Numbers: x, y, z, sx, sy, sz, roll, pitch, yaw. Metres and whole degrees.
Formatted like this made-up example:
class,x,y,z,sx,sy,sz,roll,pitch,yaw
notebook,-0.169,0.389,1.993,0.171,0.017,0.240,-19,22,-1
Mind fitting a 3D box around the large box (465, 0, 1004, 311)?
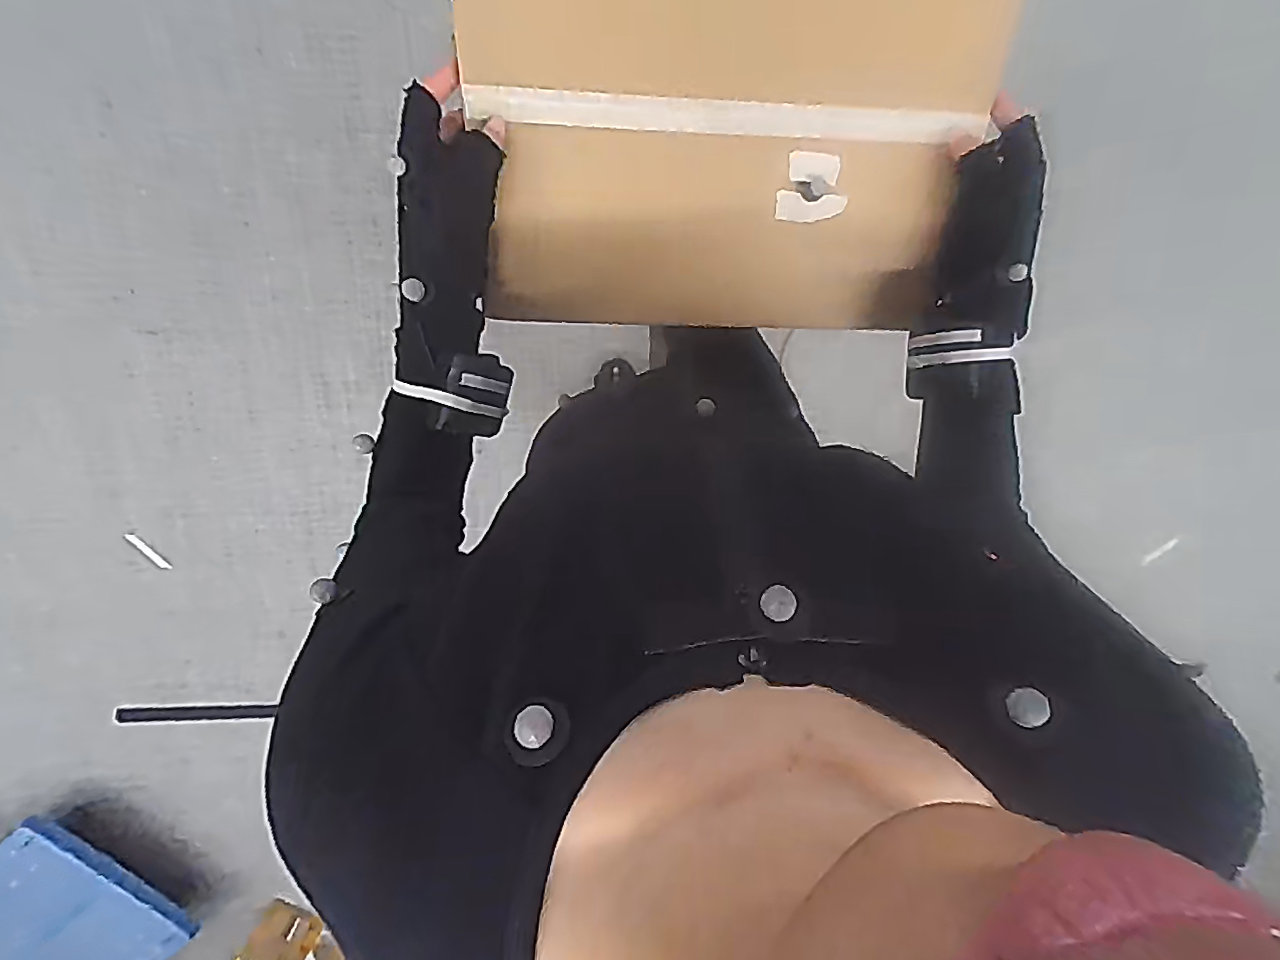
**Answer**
class,x,y,z,sx,sy,sz,roll,pitch,yaw
large box,0.058,-0.359,0.552,0.408,0.320,0.320,-1,118,-6
